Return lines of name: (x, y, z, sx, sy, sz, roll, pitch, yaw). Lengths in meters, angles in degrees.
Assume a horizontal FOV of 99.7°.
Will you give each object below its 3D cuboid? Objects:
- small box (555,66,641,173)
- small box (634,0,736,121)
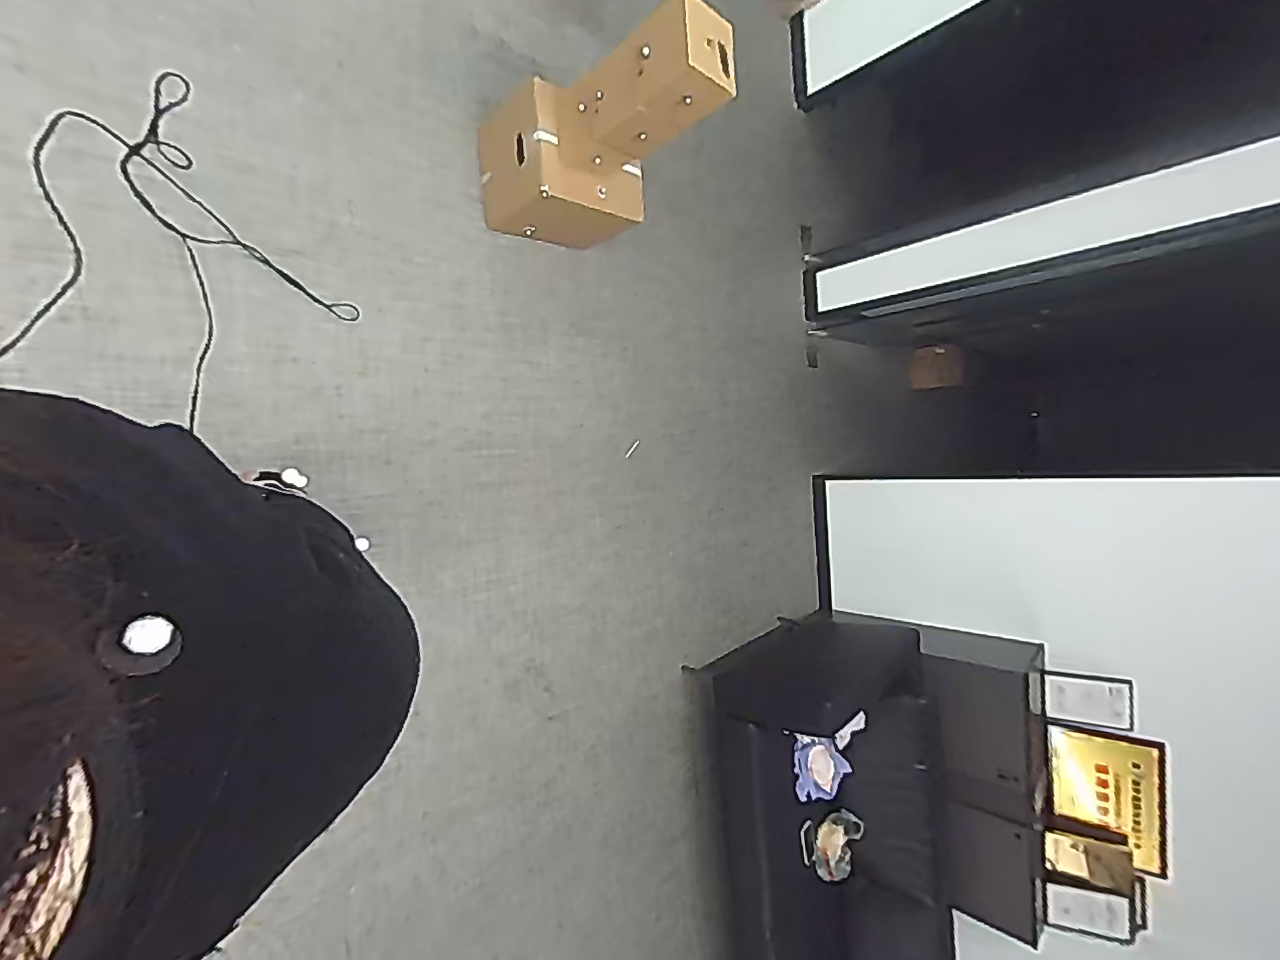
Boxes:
small box: (-0.119, -0.998, 1.516, 0.168, 0.176, 0.179, -12, 98, -44)
small box: (0.106, -0.990, 1.276, 0.179, 0.176, 0.168, -7, 94, -43)
